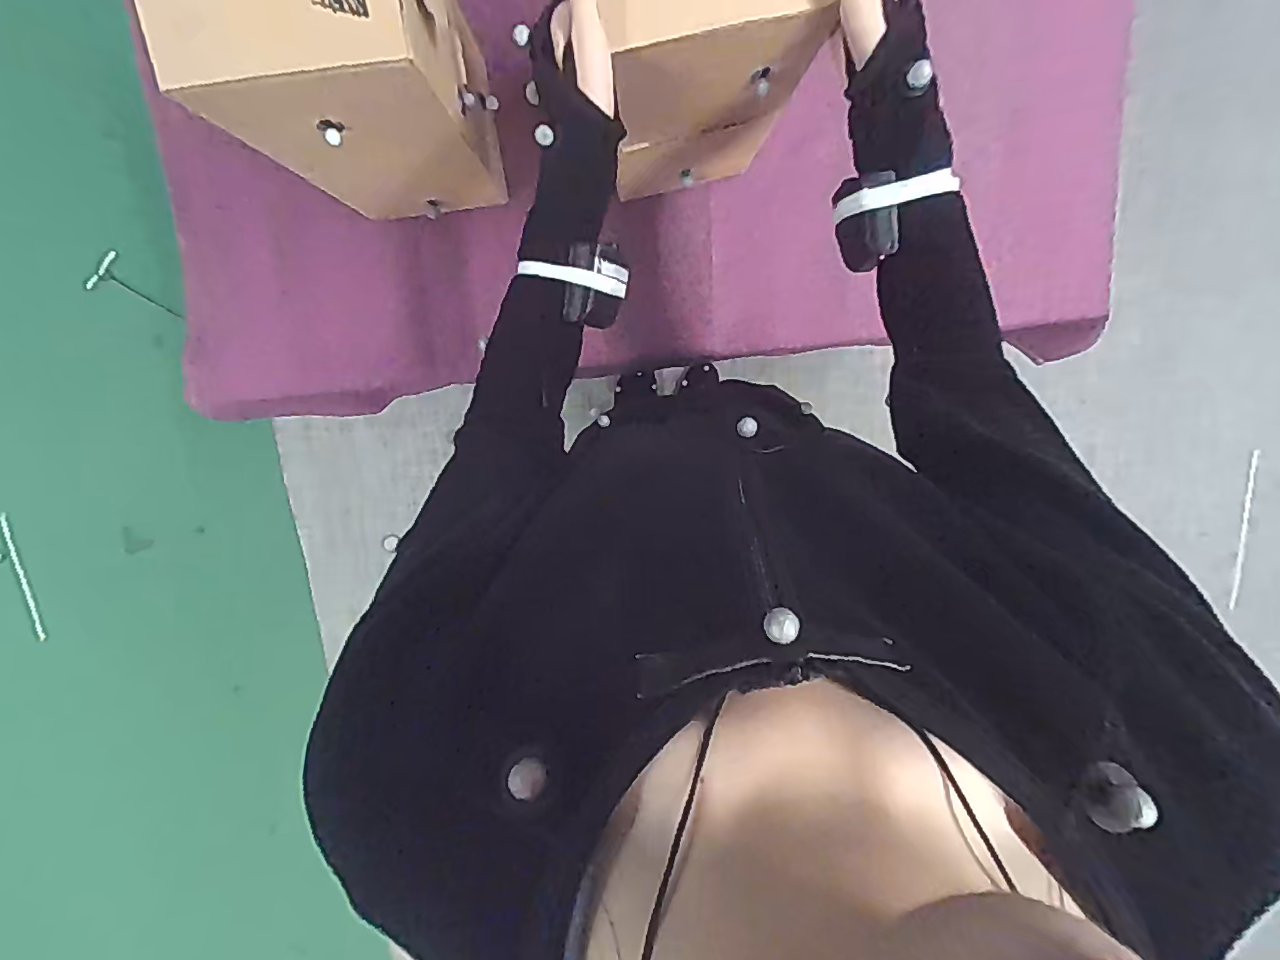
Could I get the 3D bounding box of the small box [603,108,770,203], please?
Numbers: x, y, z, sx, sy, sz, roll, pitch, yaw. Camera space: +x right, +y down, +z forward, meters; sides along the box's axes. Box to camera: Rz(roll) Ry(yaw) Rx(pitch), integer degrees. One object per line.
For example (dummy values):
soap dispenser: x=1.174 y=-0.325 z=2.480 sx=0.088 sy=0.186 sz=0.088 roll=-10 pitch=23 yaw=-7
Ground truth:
small box: x=0.032 y=-0.440 z=0.604 sx=0.168 sy=0.176 sz=0.179 roll=-13 pitch=102 yaw=1

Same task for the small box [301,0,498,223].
small box: x=-0.265 y=-0.402 z=0.602 sx=0.179 sy=0.176 sz=0.168 roll=-8 pitch=101 yaw=-1

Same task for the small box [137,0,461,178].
small box: x=-0.259 y=-0.368 z=0.440 sx=0.179 sy=0.176 sz=0.168 roll=-7 pitch=102 yaw=1

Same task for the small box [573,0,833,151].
small box: x=0.035 y=-0.403 z=0.445 sx=0.179 sy=0.176 sz=0.168 roll=-11 pitch=101 yaw=1
